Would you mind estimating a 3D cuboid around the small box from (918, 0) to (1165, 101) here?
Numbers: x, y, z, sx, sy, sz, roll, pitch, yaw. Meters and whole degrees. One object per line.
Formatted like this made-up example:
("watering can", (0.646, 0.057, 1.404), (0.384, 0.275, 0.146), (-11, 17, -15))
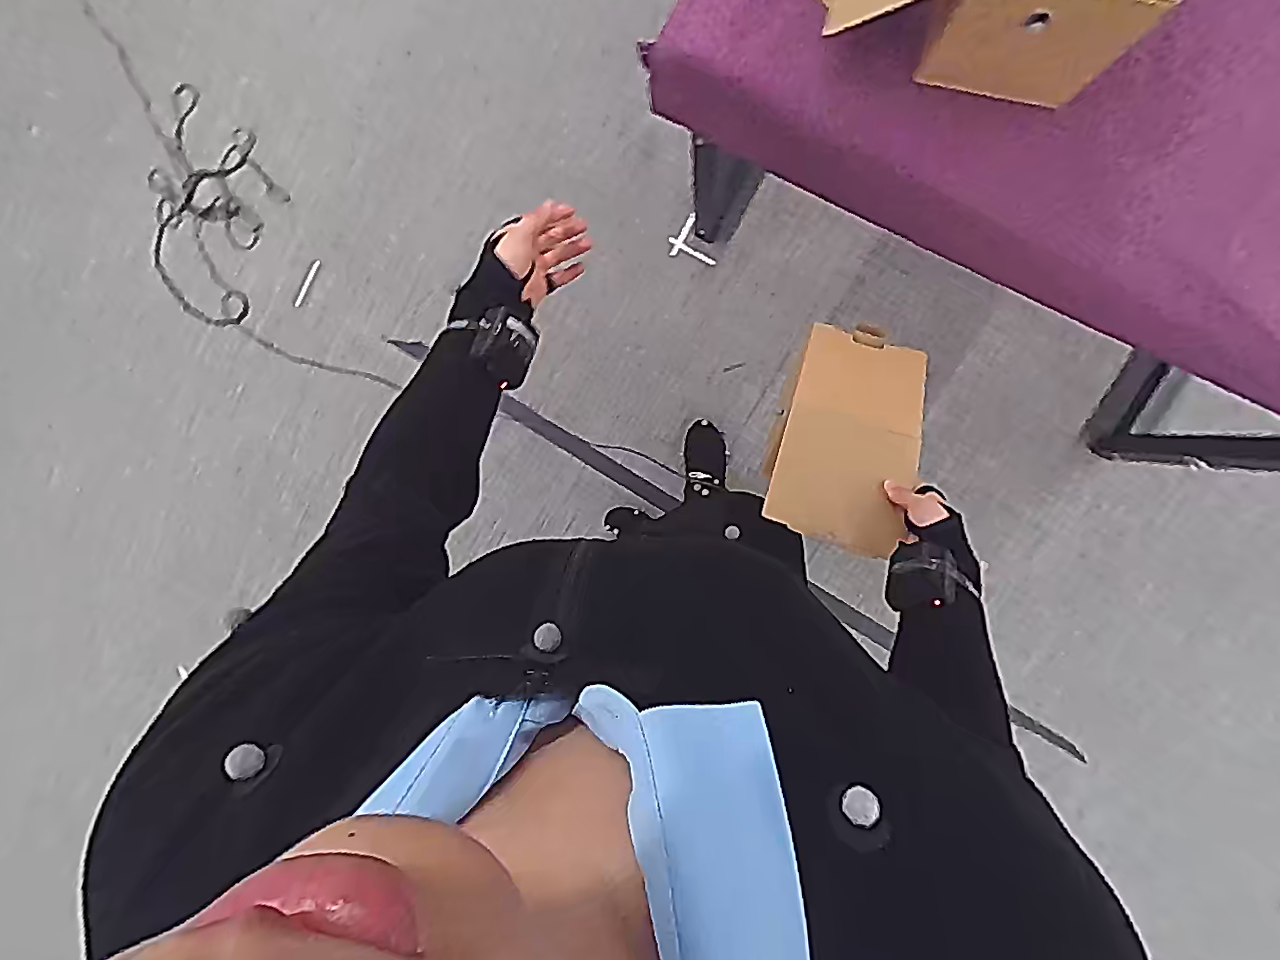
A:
("small box", (0.422, -0.534, 0.558), (0.179, 0.176, 0.168), (15, 98, 4))
